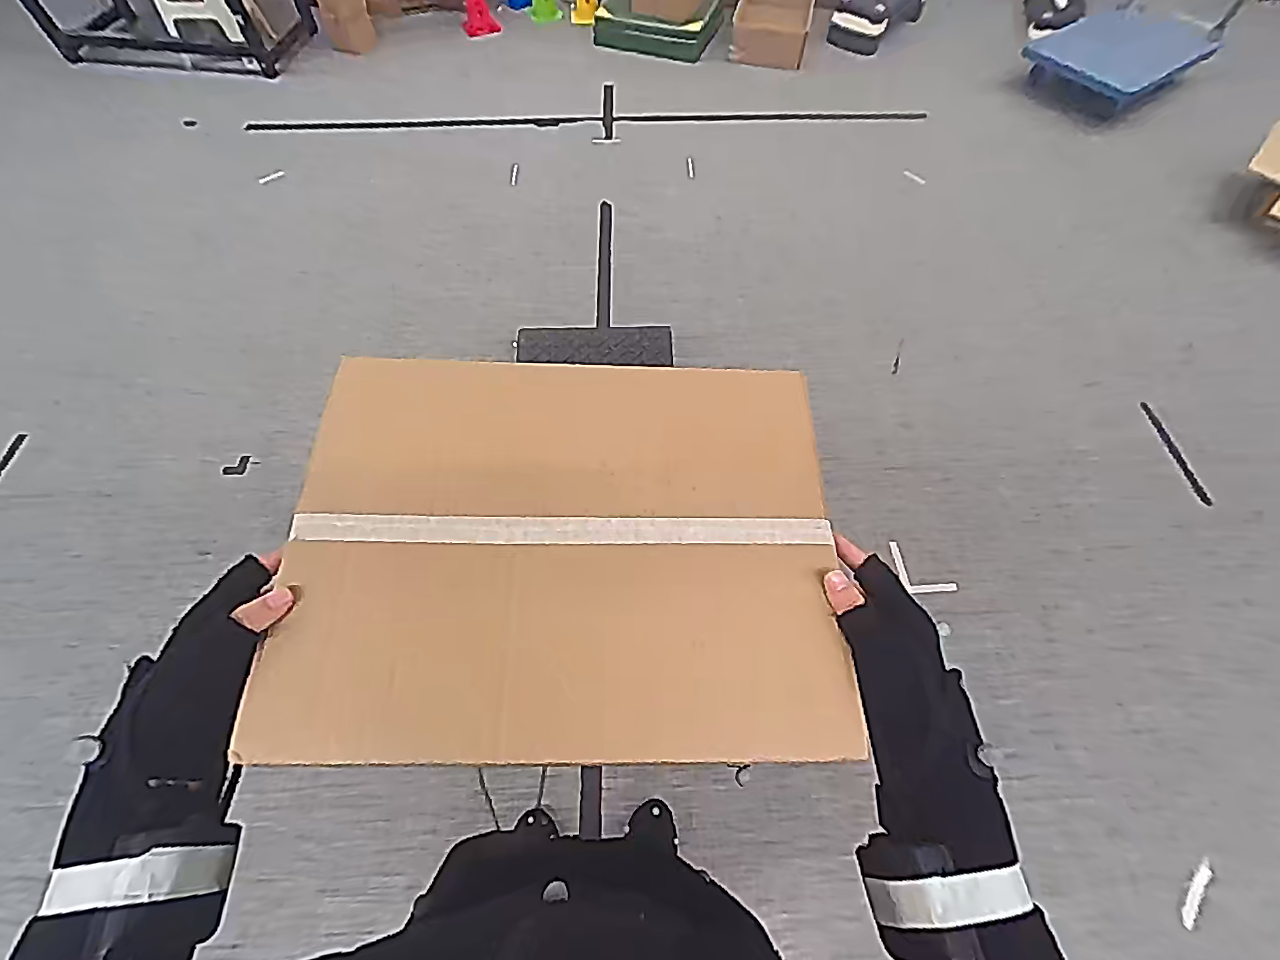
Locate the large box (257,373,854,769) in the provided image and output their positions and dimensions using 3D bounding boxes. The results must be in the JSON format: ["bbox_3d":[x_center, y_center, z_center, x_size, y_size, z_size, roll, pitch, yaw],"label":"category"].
[{"bbox_3d":[-0.059,0.110,0.555,0.408,0.320,0.320,2,64,-3],"label":"large box"}]
